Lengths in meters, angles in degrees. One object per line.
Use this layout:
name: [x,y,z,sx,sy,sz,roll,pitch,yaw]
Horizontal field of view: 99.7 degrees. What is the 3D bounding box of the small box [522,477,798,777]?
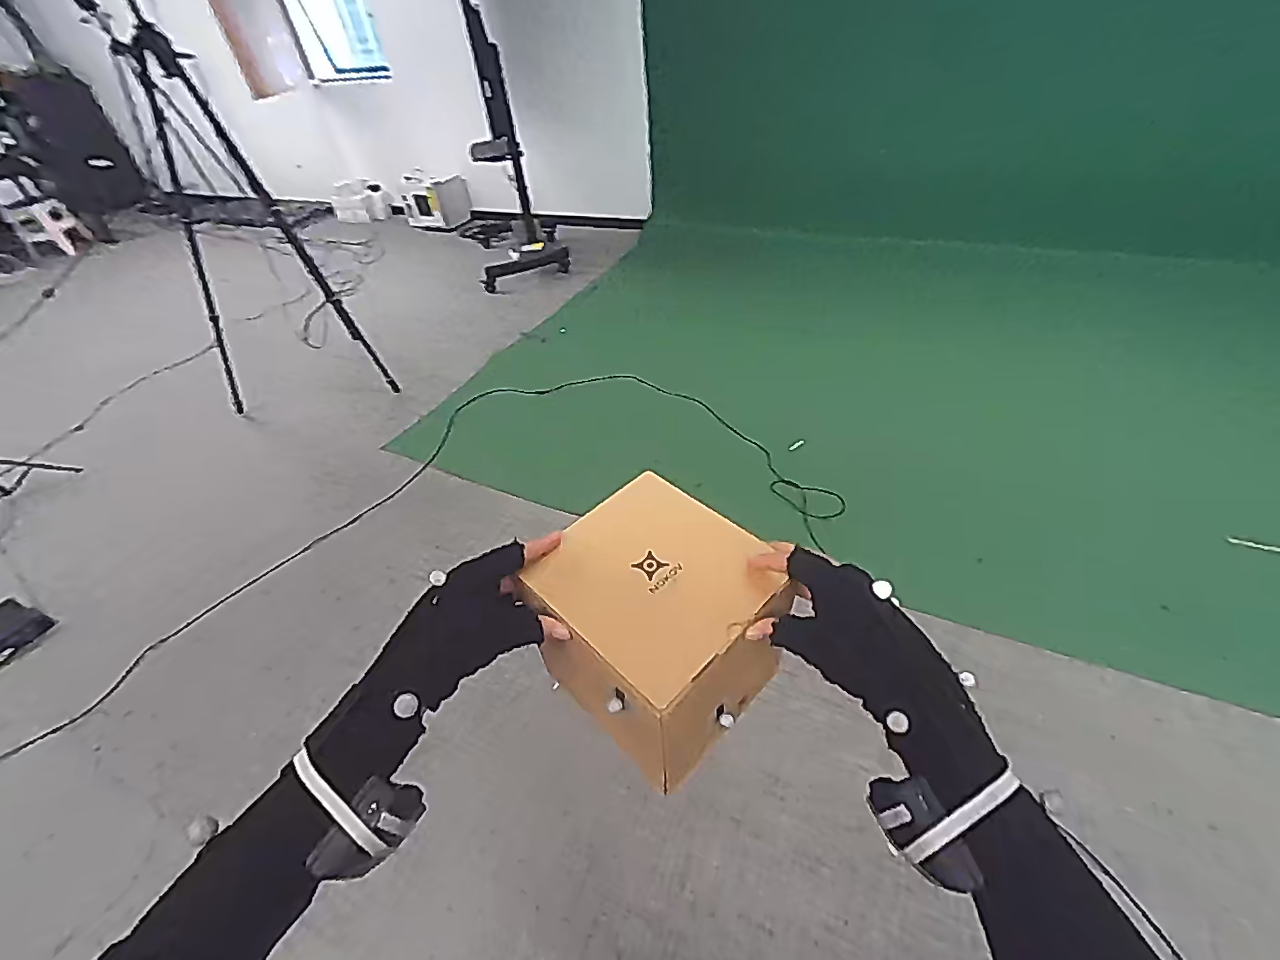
small box: [0.016,0.134,0.507,0.168,0.176,0.179,-35,53,-29]
